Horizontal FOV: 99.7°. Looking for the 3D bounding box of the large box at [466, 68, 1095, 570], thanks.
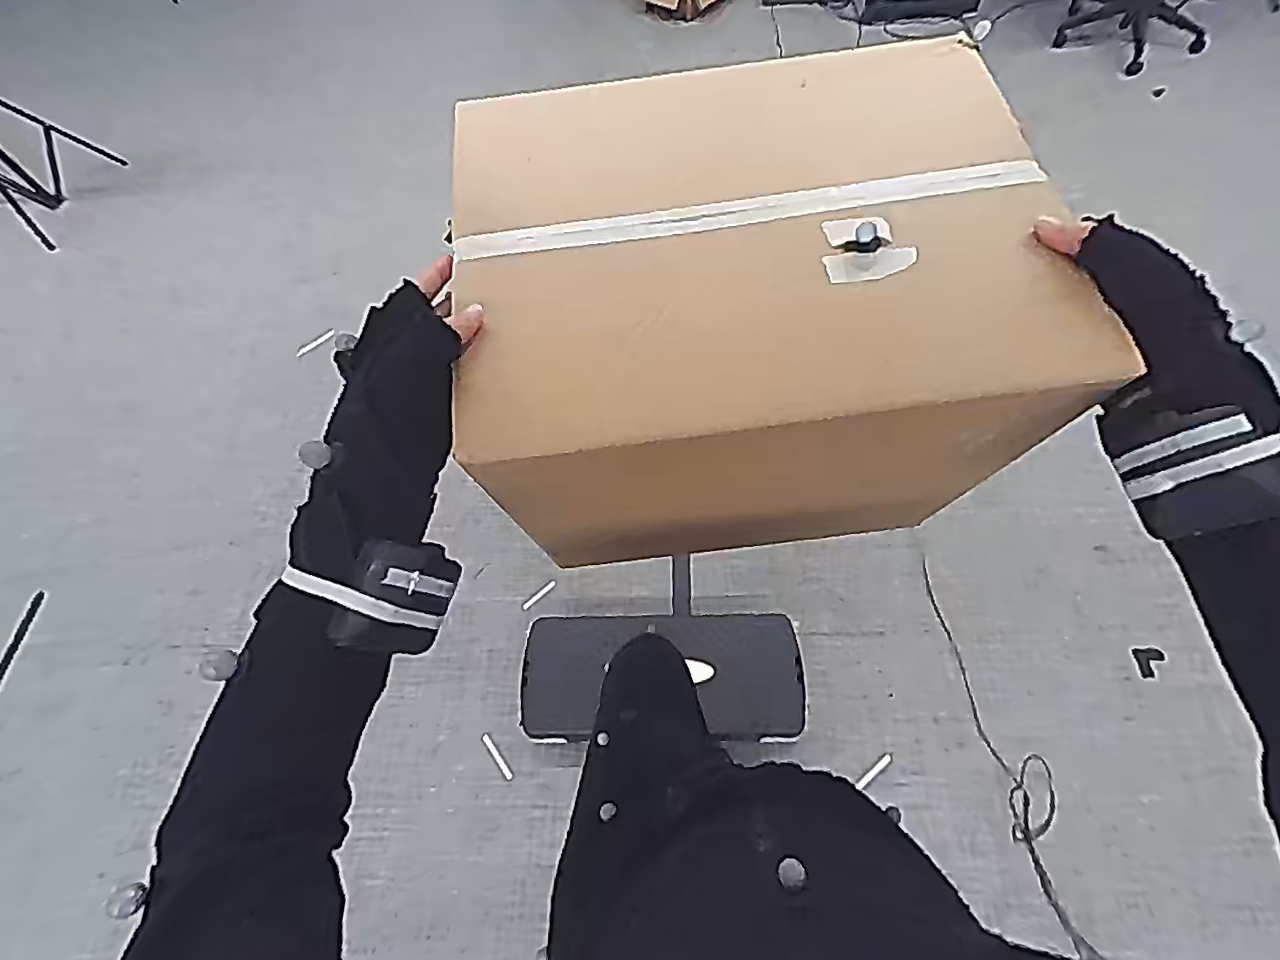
[{"bbox_3d":[0.077,-0.119,0.529,0.408,0.320,0.320,-8,69,0],"label":"large box"}]
